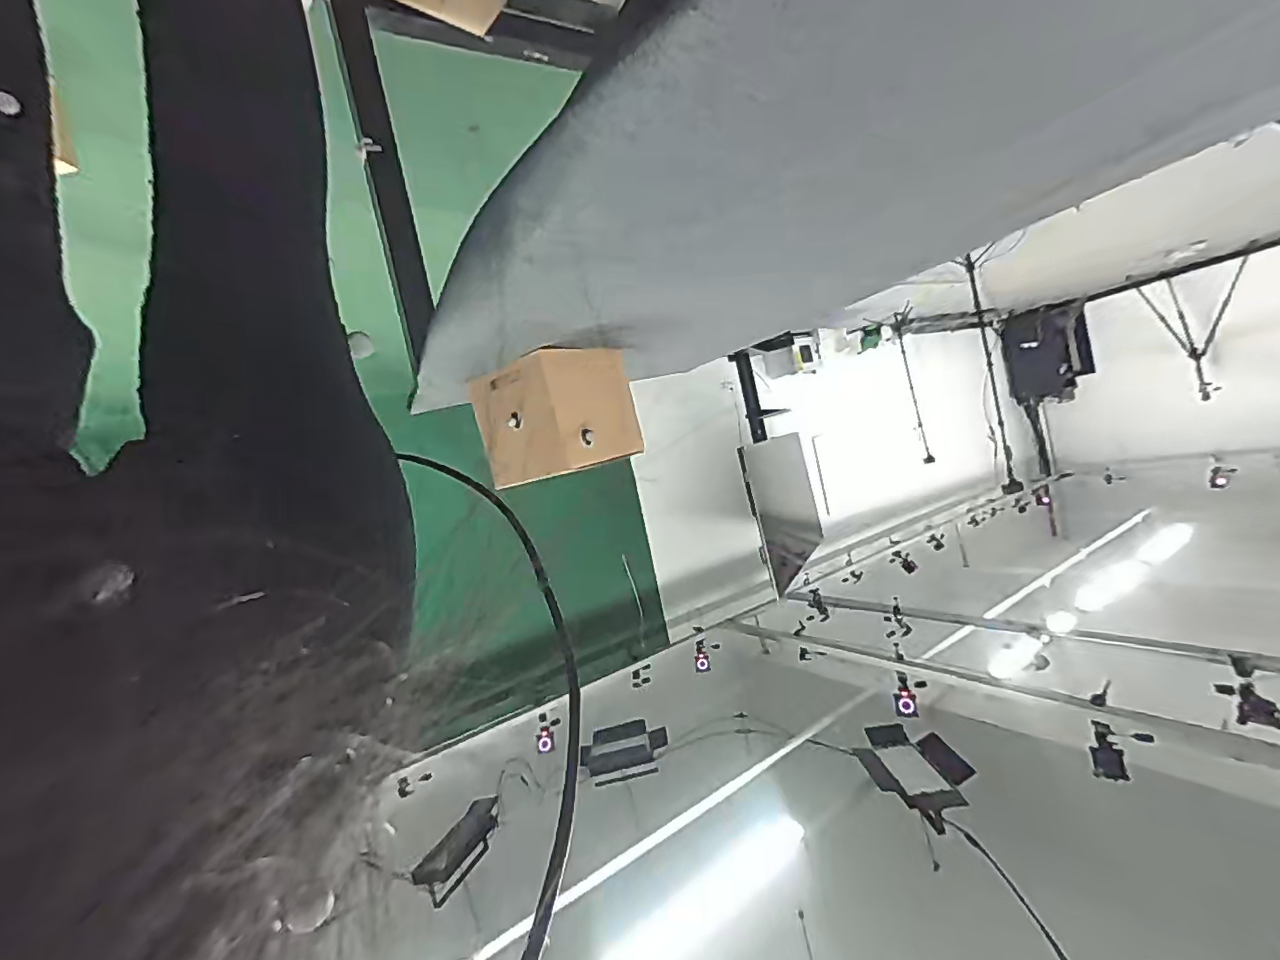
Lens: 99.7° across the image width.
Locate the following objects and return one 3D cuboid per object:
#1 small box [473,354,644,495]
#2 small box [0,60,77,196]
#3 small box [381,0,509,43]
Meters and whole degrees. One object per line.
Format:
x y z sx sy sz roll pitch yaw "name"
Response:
-0.124 -0.087 0.820 0.168 0.176 0.179 -11 -175 38 "small box"
-1.132 -0.613 0.908 0.168 0.176 0.179 -13 -177 1 "small box"
-0.283 -0.800 0.778 0.168 0.176 0.179 -14 -176 -44 "small box"
